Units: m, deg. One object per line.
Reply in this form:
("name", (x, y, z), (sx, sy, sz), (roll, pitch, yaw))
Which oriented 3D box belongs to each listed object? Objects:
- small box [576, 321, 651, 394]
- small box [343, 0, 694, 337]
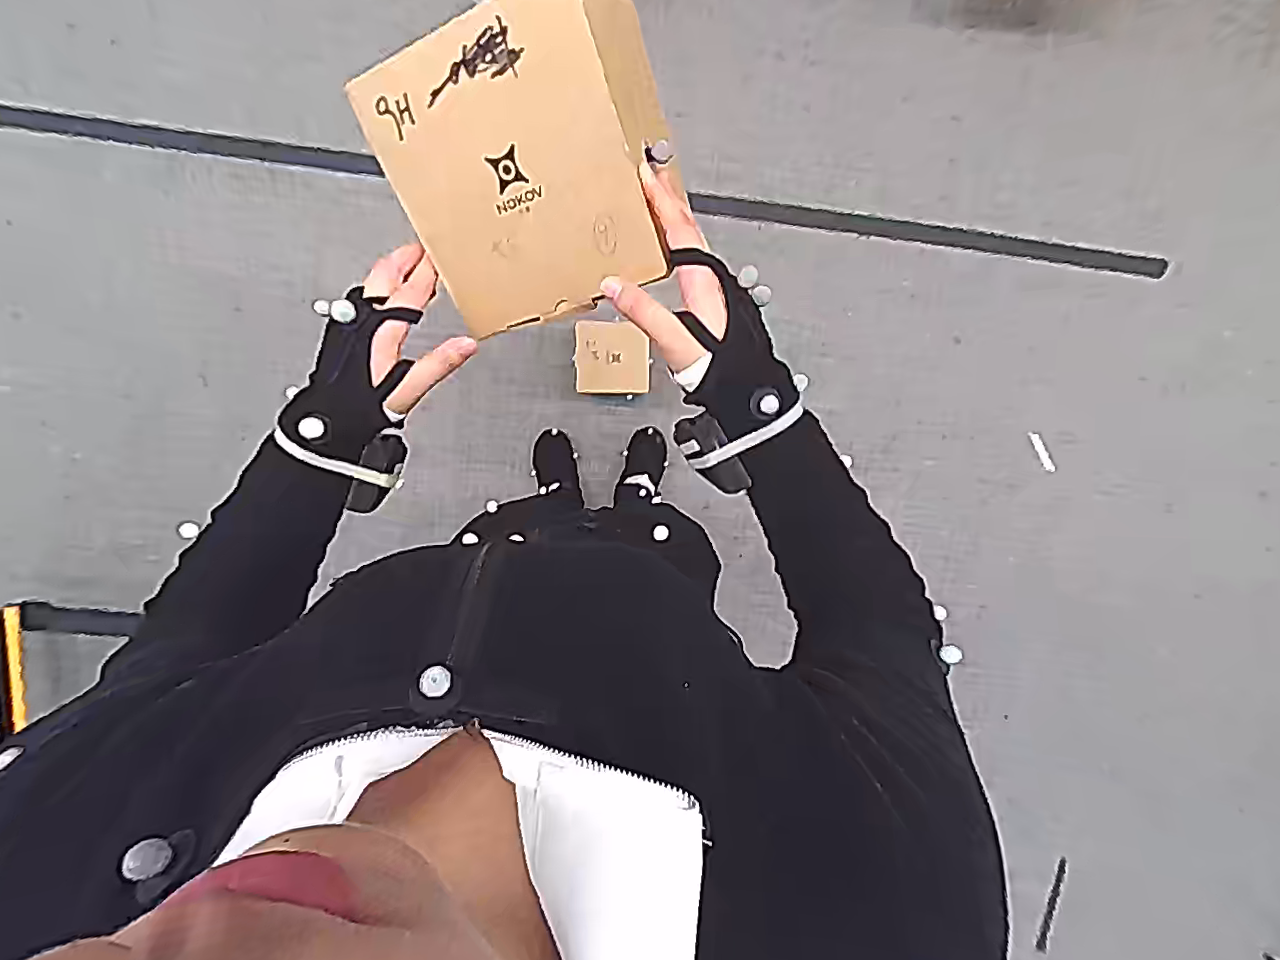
("small box", (-0.068, -0.303, 1.354), (0.179, 0.176, 0.168), (0, 100, -2))
("small box", (-0.065, -0.239, 0.411), (0.168, 0.176, 0.179), (-11, 123, 21))
